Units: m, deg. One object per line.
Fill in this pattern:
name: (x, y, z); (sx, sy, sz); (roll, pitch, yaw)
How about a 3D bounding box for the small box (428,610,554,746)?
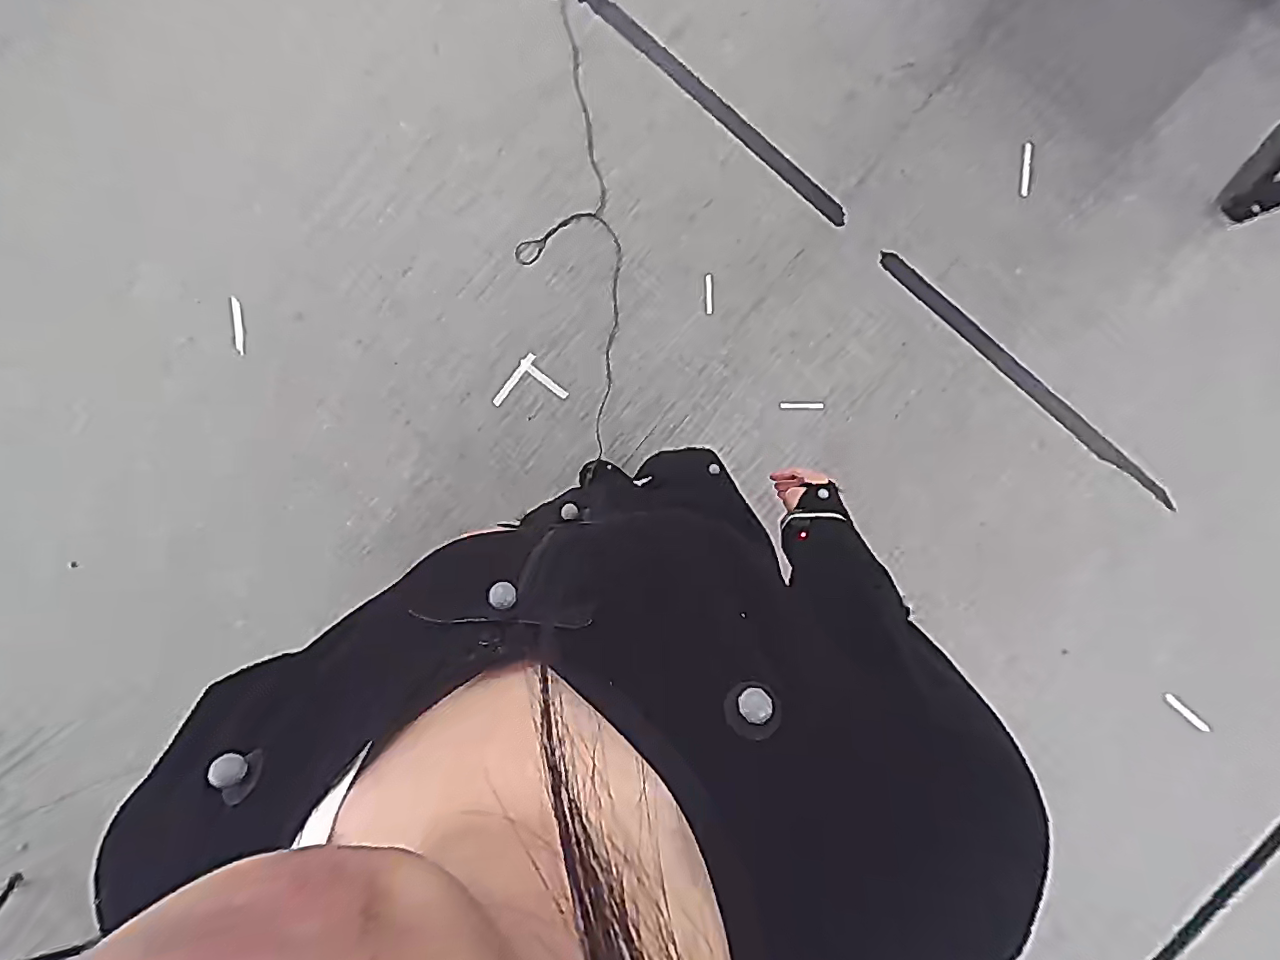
small box: (-0.300, 0.405, 1.133); (0.168, 0.176, 0.179); (37, 92, -1)
